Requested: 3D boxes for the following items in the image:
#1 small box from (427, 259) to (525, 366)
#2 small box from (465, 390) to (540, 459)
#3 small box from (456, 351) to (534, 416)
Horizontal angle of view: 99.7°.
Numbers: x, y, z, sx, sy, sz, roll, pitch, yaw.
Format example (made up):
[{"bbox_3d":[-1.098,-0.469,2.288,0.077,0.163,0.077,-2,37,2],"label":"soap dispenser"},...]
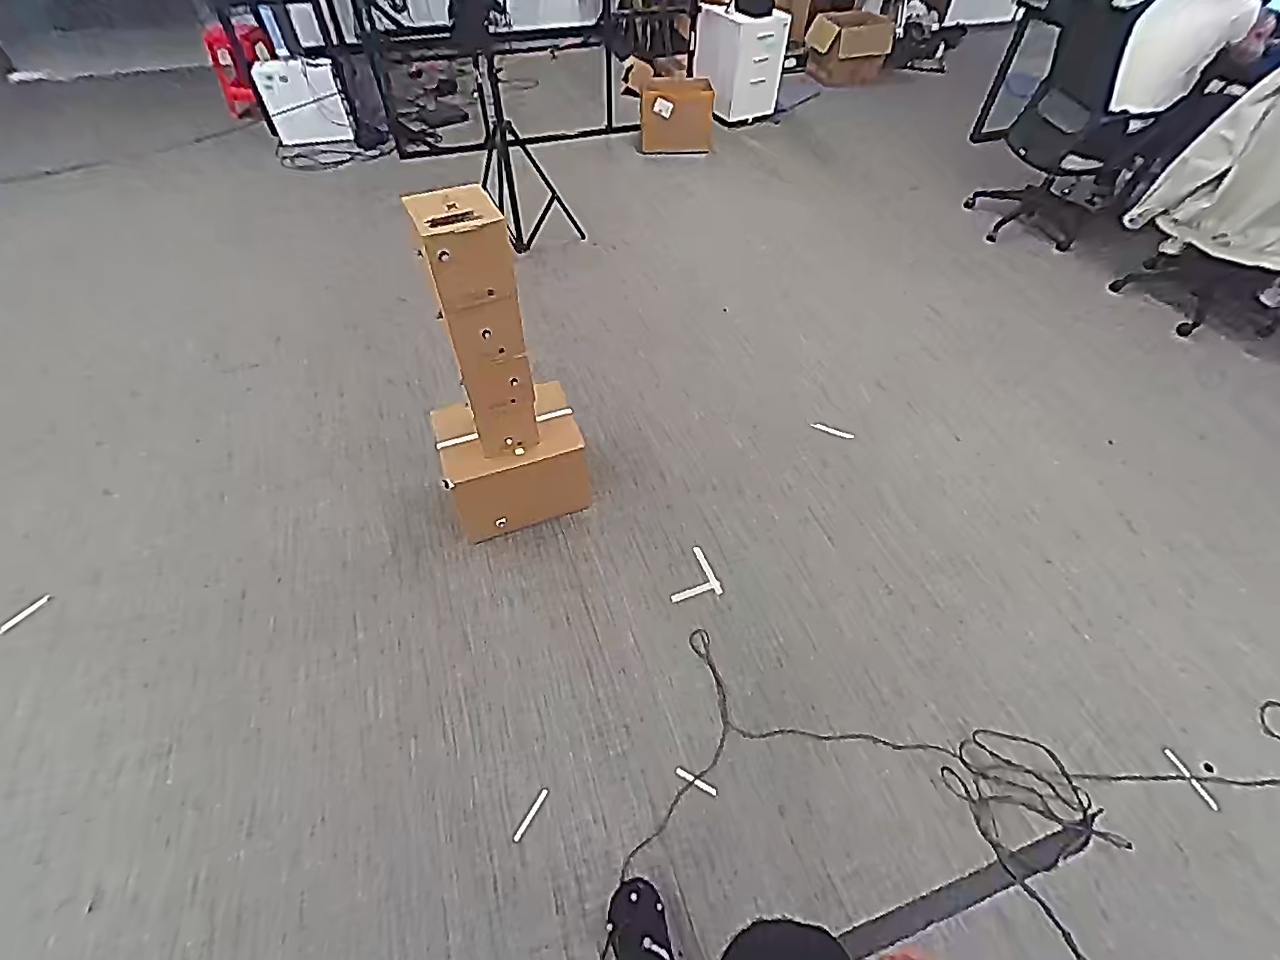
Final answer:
[{"bbox_3d":[-0.384,-0.391,1.286,0.168,0.176,0.179,-21,56,-19],"label":"small box"},{"bbox_3d":[-0.393,-0.190,1.544,0.168,0.176,0.179,-17,55,-14],"label":"small box"},{"bbox_3d":[-0.383,-0.287,1.414,0.168,0.176,0.179,-18,54,-16],"label":"small box"}]
